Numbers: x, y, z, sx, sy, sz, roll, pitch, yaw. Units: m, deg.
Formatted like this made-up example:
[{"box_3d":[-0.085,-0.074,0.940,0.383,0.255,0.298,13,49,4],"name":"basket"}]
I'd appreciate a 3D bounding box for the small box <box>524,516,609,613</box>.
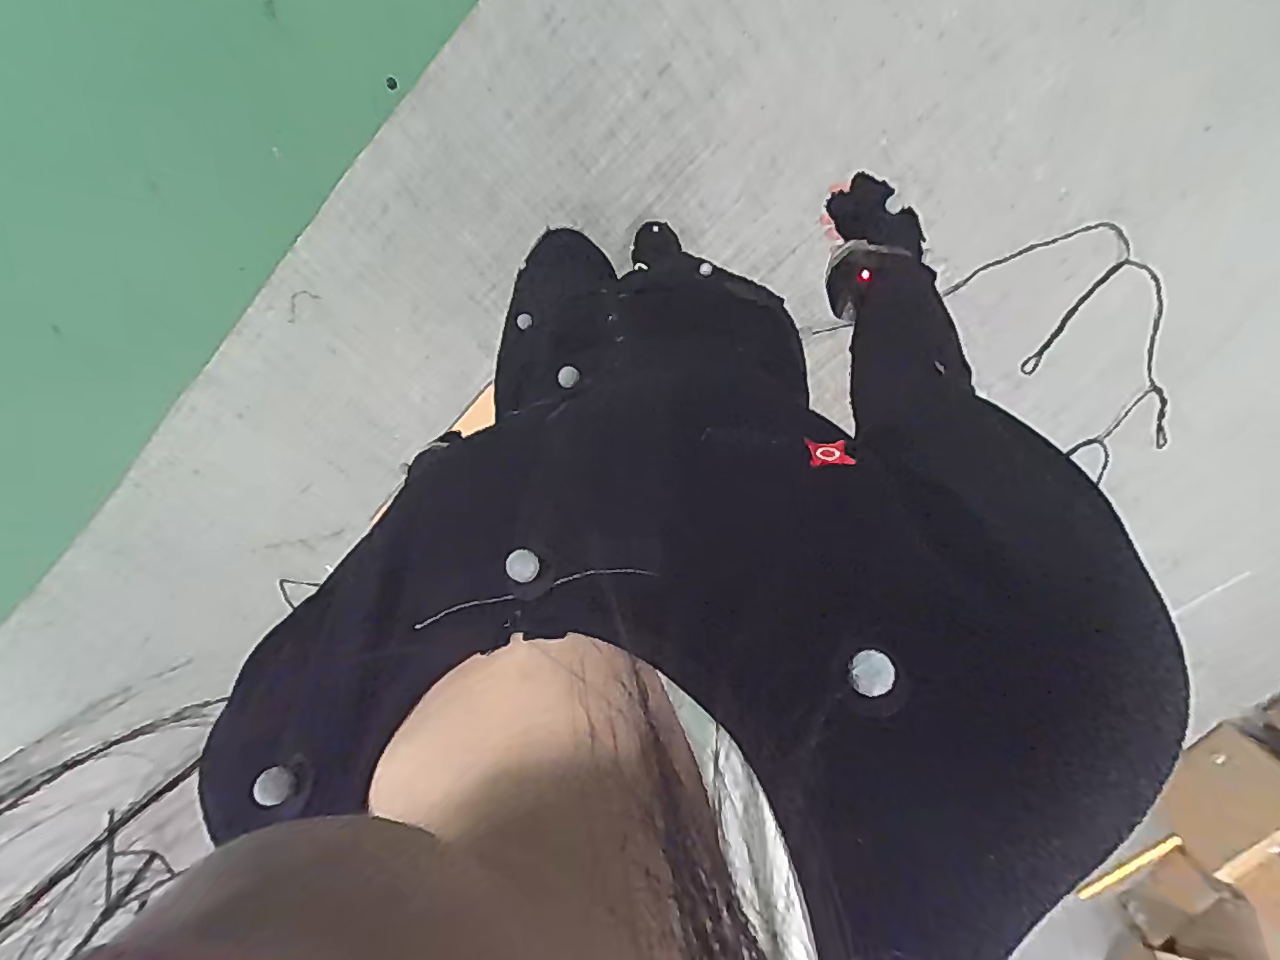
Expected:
[{"box_3d":[-0.203,0.235,1.544,0.168,0.176,0.179,37,109,-15],"name":"small box"}]
